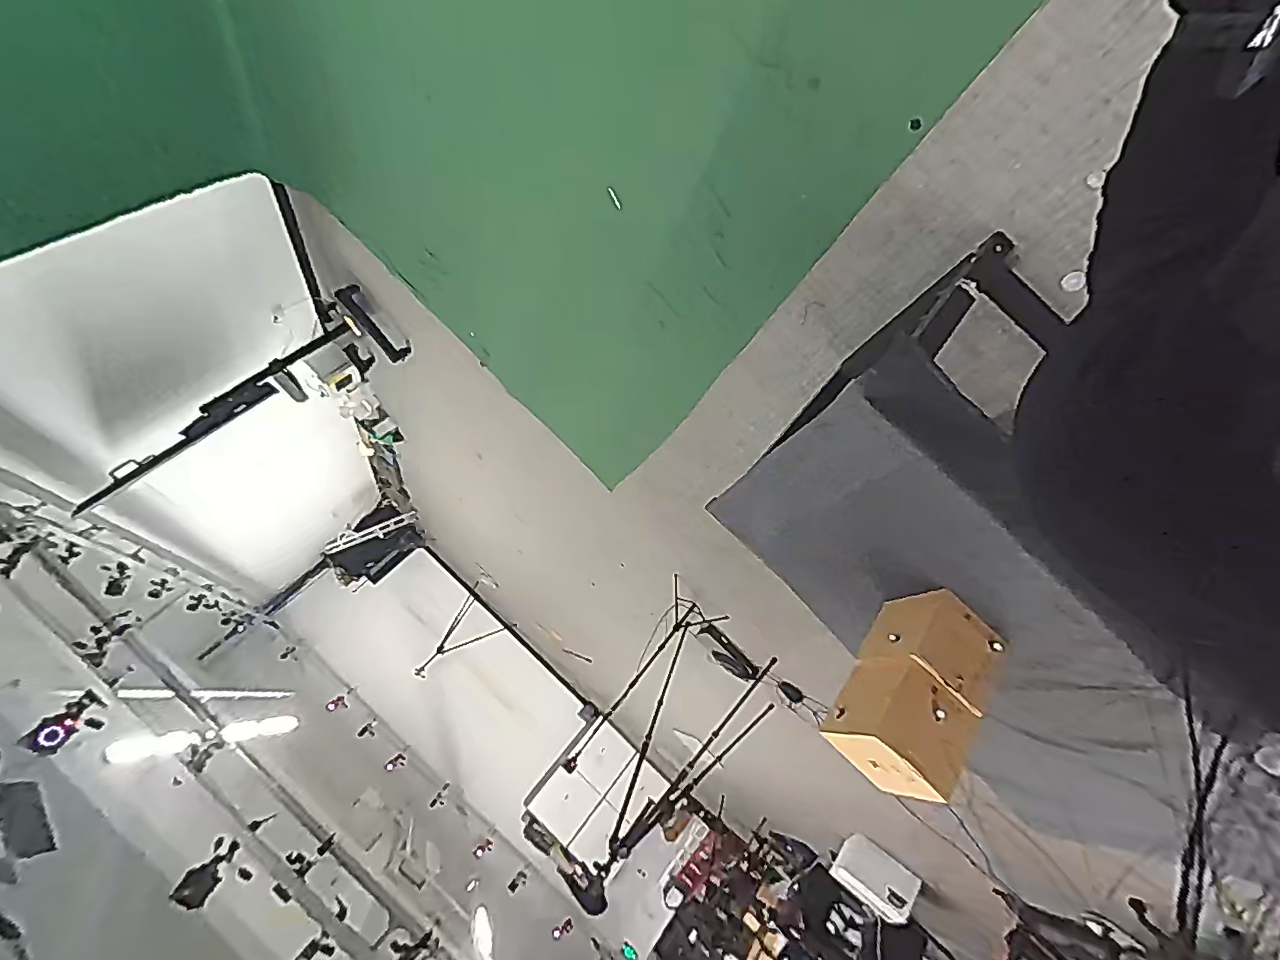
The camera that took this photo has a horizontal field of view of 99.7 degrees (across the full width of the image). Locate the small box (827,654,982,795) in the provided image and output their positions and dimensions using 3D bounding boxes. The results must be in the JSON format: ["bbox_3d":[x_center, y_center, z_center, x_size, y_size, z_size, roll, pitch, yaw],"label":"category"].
[{"bbox_3d":[0.499,0.453,1.024,0.168,0.176,0.179,42,152,3],"label":"small box"}]

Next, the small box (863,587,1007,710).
[{"bbox_3d":[0.597,0.335,1.086,0.168,0.176,0.179,44,154,2],"label":"small box"}]
